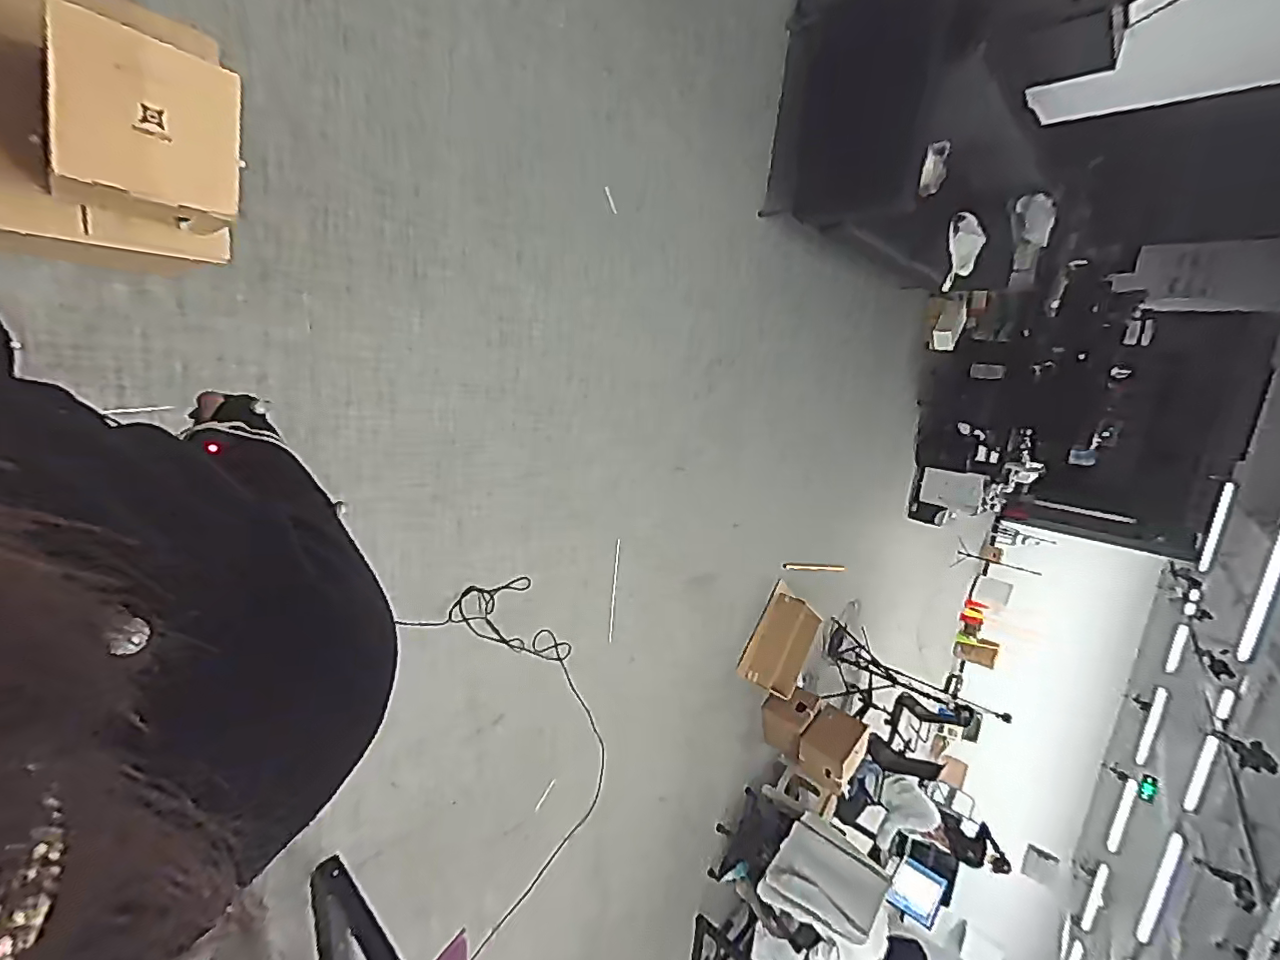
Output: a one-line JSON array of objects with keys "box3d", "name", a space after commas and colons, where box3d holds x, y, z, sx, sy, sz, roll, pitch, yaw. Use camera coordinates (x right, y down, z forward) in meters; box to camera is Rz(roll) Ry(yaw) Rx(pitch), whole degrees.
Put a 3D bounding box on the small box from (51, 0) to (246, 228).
[{"box3d": [-0.614, -0.432, 0.677, 0.168, 0.176, 0.179, -2, 103, -47], "name": "small box"}]
